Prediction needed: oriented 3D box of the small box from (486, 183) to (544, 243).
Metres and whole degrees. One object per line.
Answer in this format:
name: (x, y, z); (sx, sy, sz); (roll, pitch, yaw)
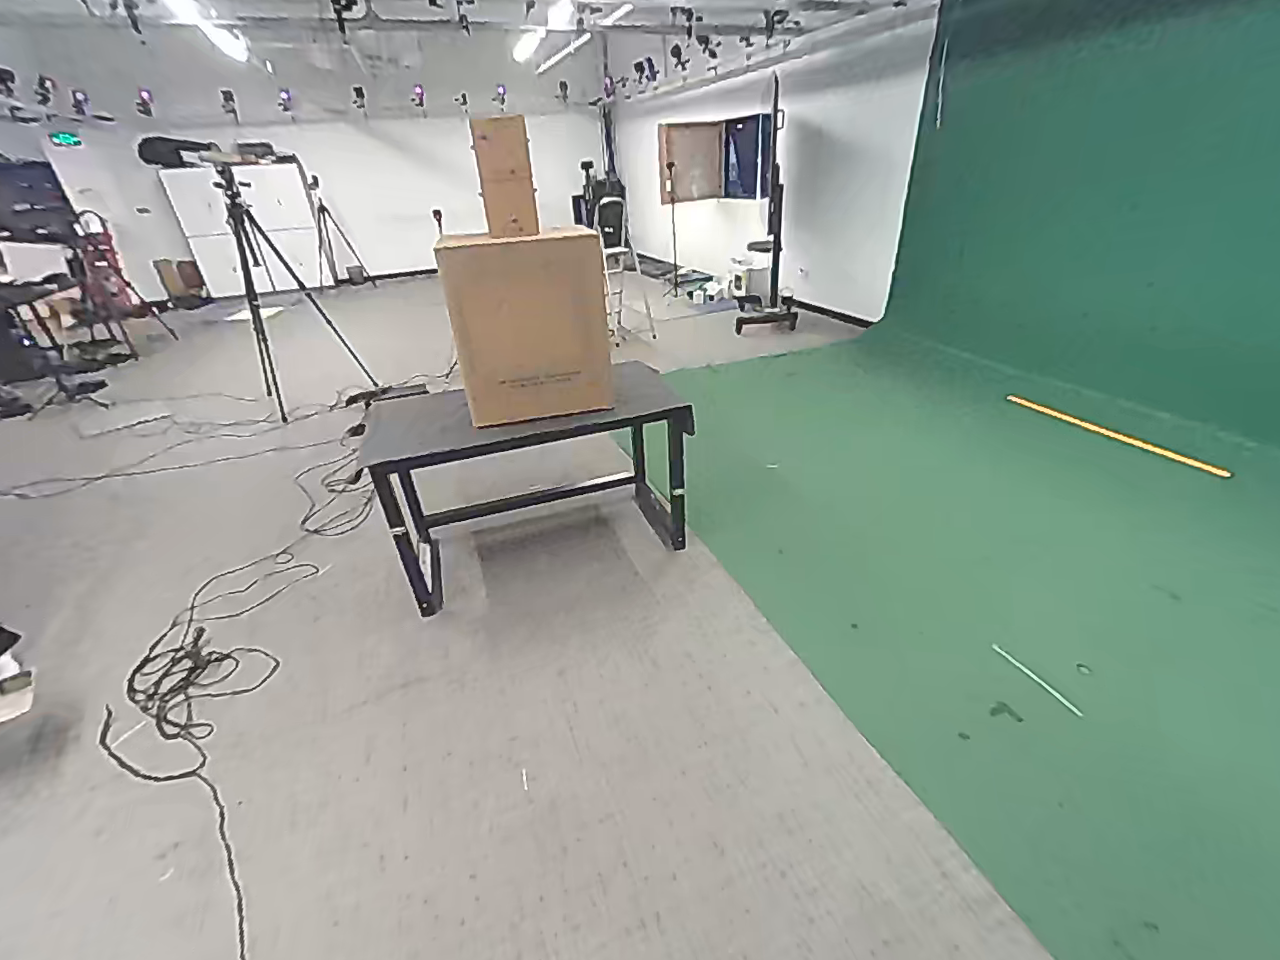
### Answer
small box: (-0.420, -0.902, 1.827); (0.168, 0.176, 0.179); (-9, 32, -10)
